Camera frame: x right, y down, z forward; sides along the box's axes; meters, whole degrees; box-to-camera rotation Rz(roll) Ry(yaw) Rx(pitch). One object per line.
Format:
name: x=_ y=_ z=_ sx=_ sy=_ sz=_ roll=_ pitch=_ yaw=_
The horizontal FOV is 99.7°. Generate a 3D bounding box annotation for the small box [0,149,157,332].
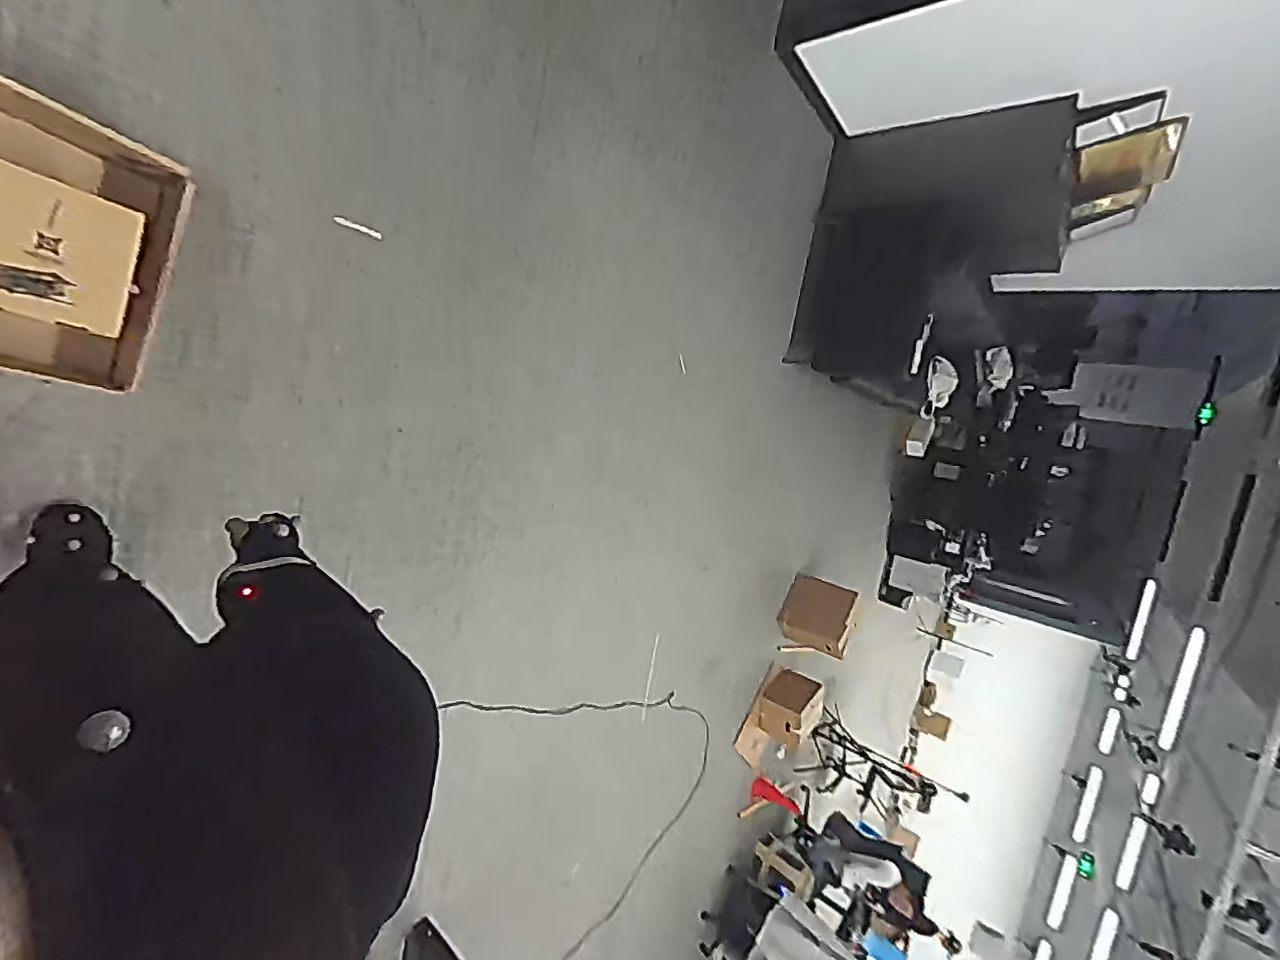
small box: x=-0.797 y=-0.317 z=0.738 sx=0.168 sy=0.176 sz=0.179 roll=12 pitch=93 yaw=-51
